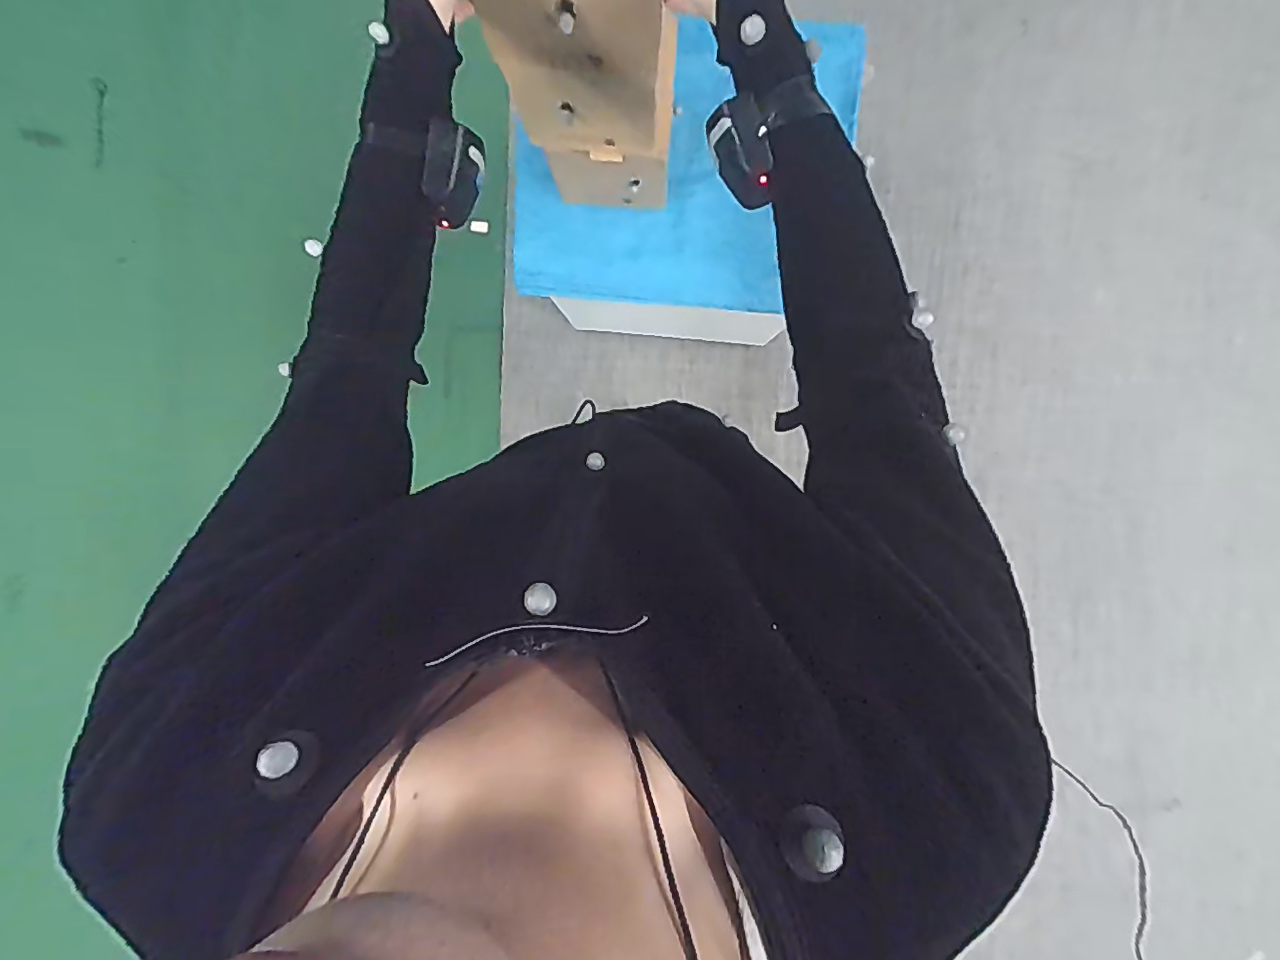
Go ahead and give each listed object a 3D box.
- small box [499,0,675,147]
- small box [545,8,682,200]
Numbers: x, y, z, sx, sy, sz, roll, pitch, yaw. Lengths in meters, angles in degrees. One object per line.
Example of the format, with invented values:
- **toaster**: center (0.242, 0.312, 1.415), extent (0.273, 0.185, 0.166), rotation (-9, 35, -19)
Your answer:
- **small box**: center (-0.049, -0.511, 0.611), extent (0.168, 0.176, 0.179), rotation (6, 94, 1)
- **small box**: center (-0.032, -0.525, 0.772), extent (0.168, 0.176, 0.179), rotation (5, 95, 0)
